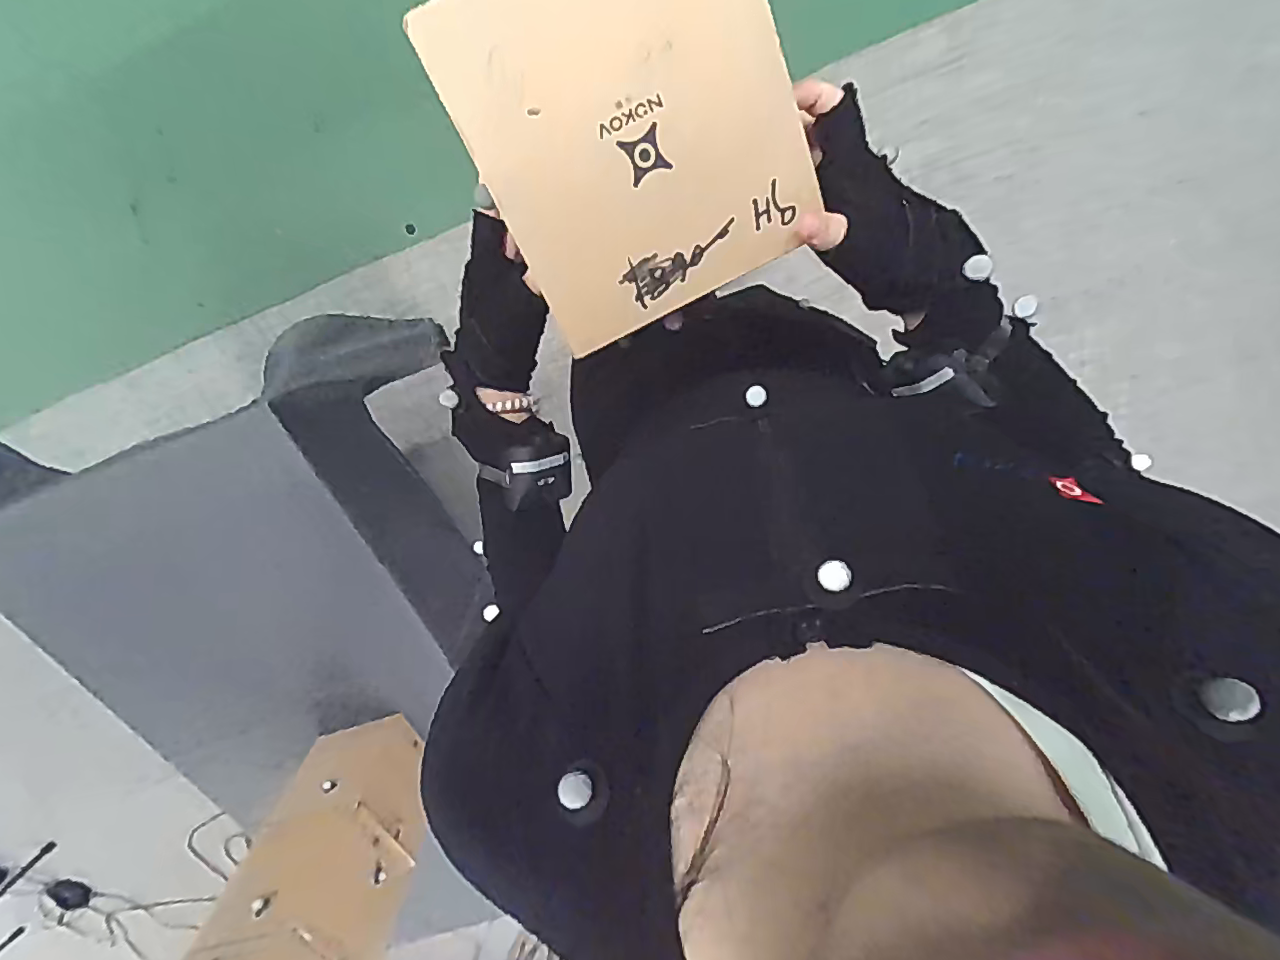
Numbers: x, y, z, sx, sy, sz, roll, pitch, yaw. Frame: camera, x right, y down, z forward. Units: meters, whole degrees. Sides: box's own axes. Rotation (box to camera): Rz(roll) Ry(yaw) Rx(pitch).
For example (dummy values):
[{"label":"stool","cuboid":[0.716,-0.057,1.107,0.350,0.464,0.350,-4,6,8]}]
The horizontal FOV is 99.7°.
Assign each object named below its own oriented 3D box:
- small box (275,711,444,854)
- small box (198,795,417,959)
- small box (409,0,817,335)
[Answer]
[{"label":"small box","cuboid":[-0.464,0.531,0.933,0.179,0.176,0.168,-19,114,10]},{"label":"small box","cuboid":[-0.463,0.600,0.786,0.179,0.176,0.168,-19,114,8]},{"label":"small box","cuboid":[-0.015,-0.218,0.357,0.168,0.176,0.179,-26,114,3]}]
